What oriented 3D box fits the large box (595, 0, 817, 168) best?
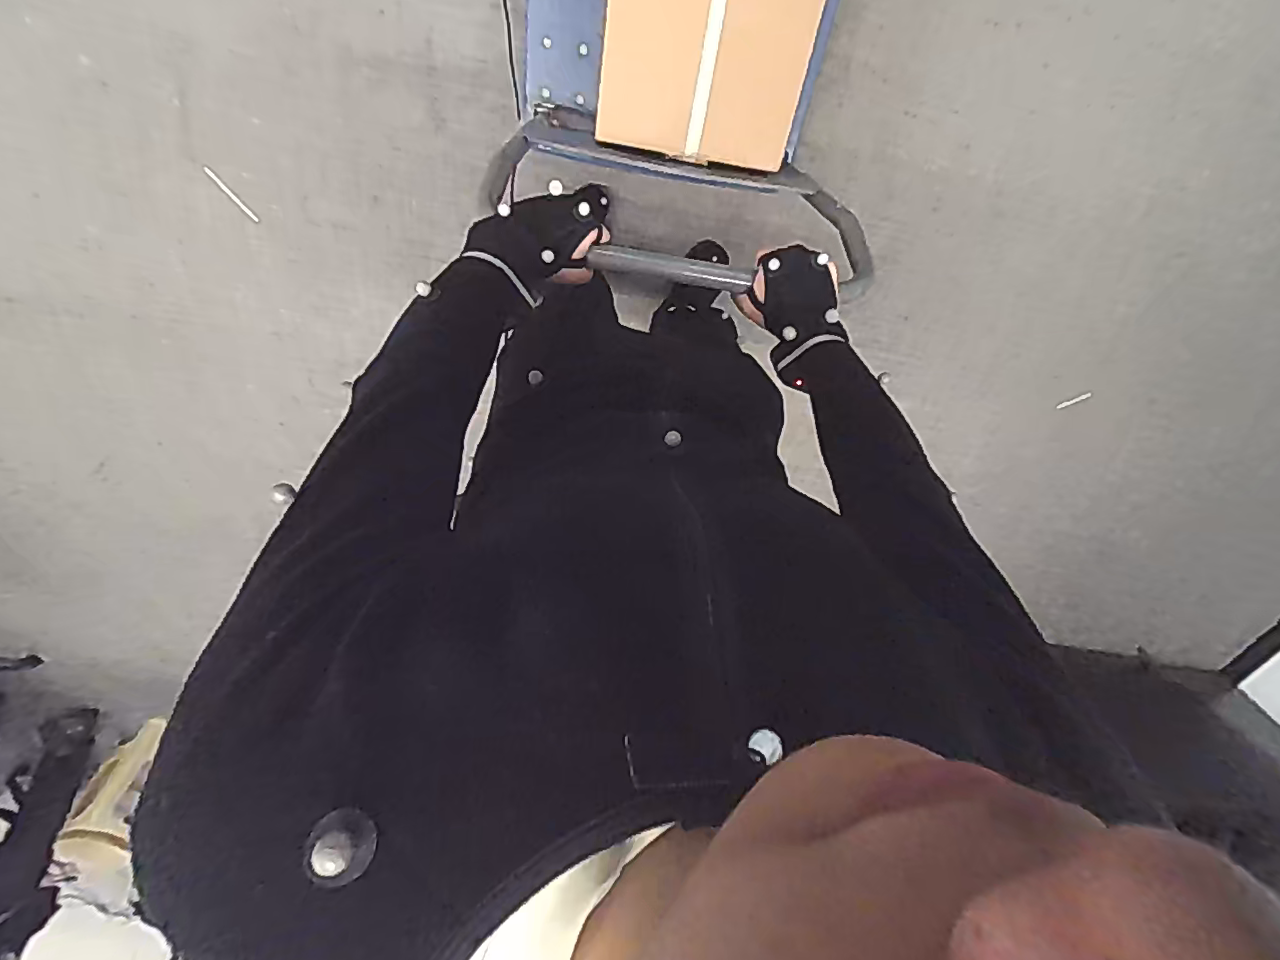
[{"bbox_3d":[0.101,-0.783,0.909,0.320,0.320,0.408,6,124,-7],"label":"large box"}]
